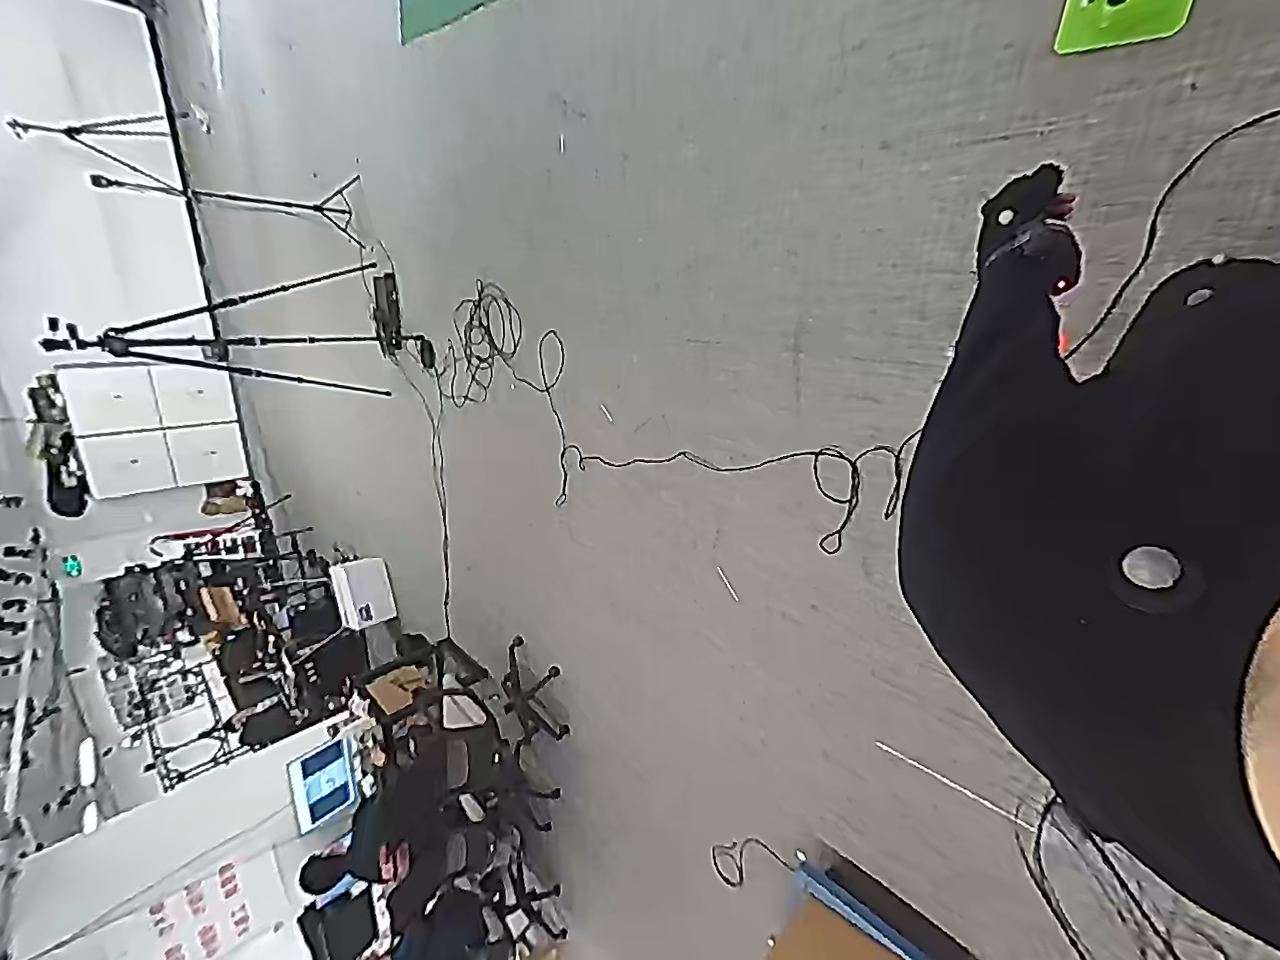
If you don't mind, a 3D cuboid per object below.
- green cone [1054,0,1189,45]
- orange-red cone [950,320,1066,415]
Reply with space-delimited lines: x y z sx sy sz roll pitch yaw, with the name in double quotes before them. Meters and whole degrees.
"green cone" 0.796 -0.913 0.893 0.200 0.368 0.202 22 118 41
"orange-red cone" 0.745 -0.234 1.161 0.198 0.360 0.199 24 117 38
